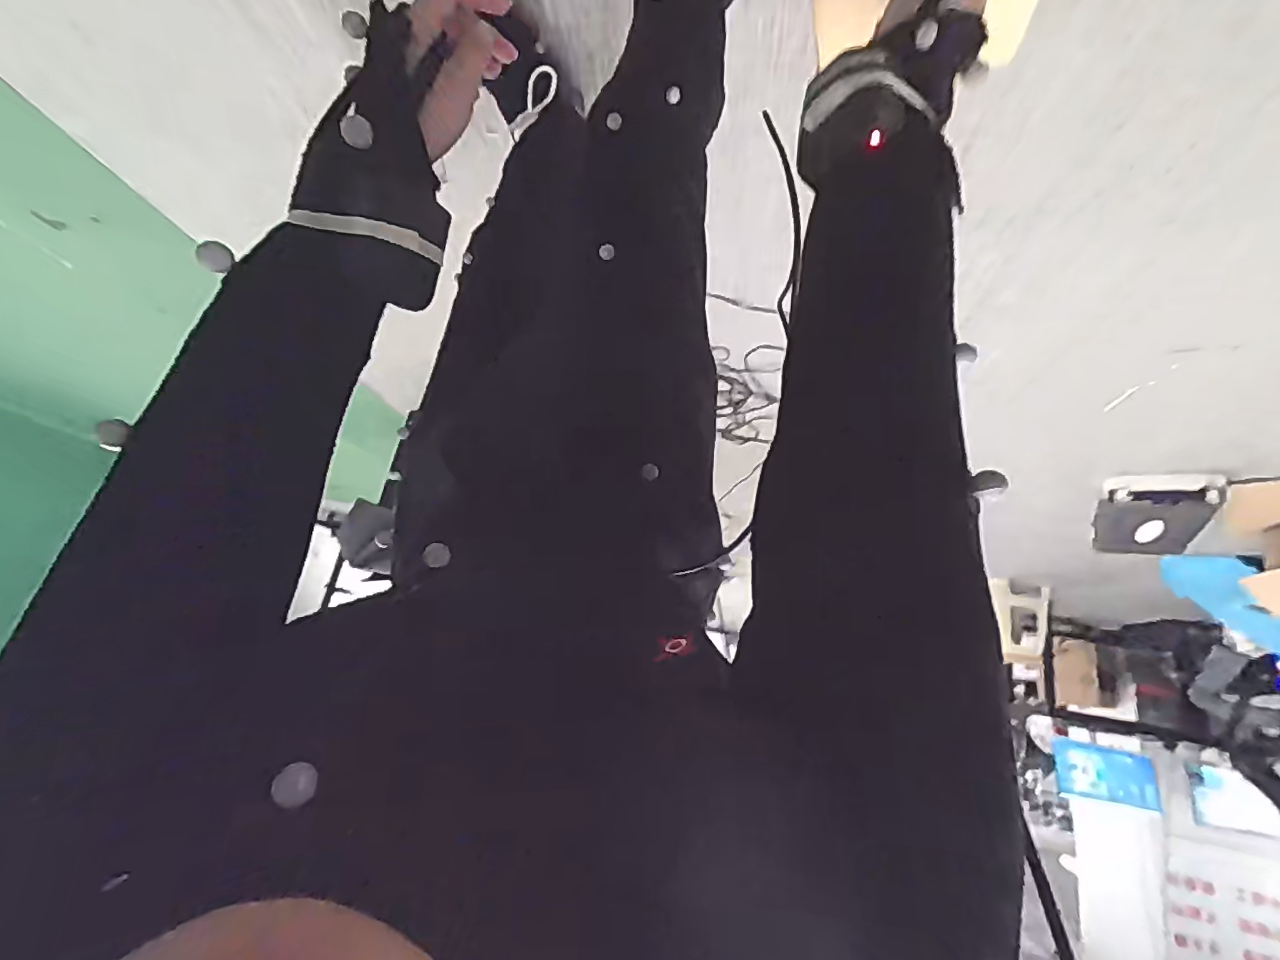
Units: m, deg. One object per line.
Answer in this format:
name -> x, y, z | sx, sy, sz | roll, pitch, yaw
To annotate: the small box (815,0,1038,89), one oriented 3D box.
small box -> 0.228, -0.453, 0.419 | 0.168, 0.179, 0.176 | 4, -172, 19
